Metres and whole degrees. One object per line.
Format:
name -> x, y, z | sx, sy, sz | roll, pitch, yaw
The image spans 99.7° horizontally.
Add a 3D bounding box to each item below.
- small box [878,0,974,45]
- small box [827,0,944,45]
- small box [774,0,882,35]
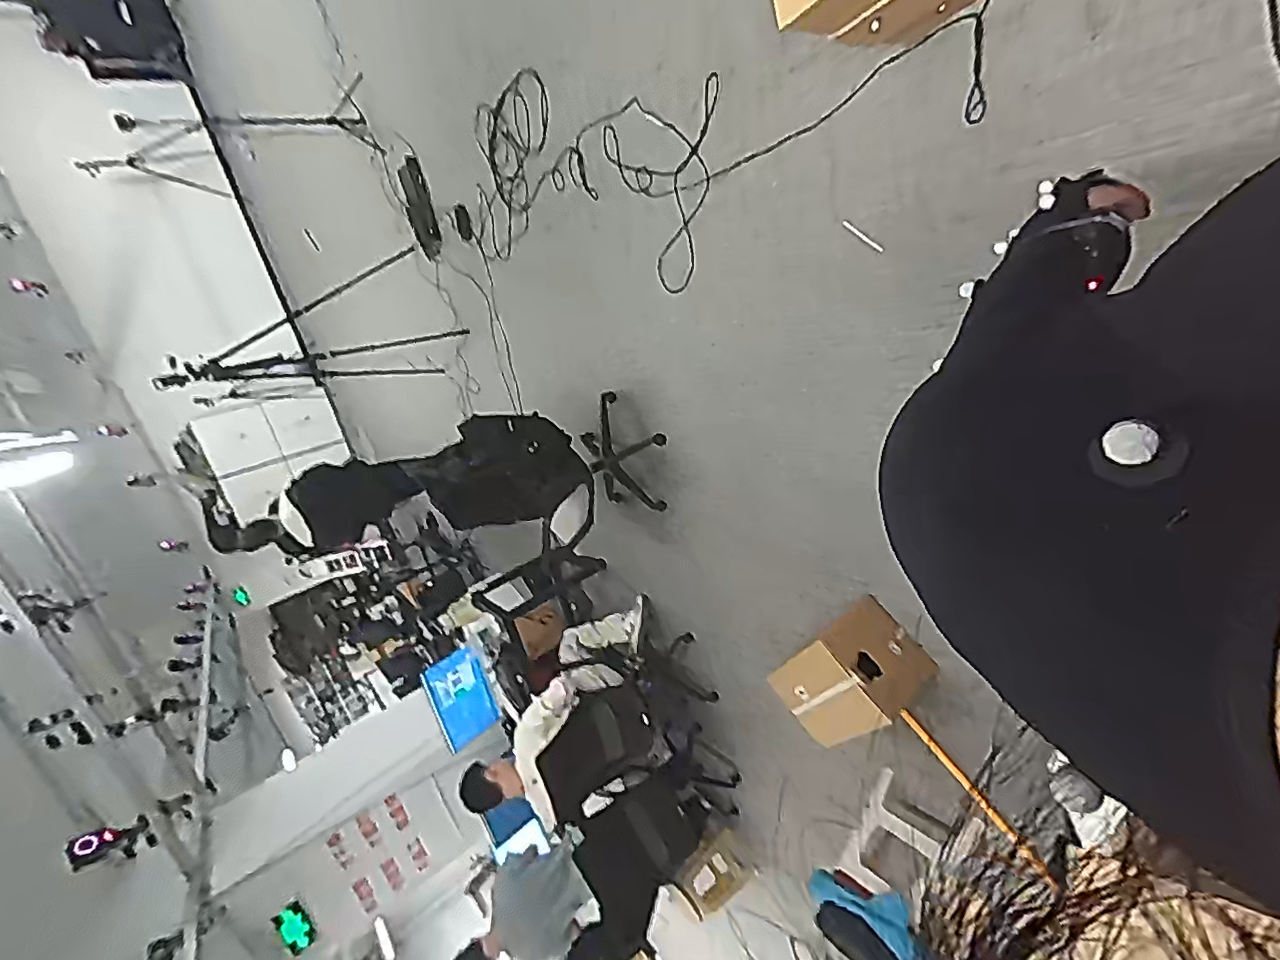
small box -> 0.577, -1.039, 1.108 | 0.179, 0.176, 0.168 | -2, 109, 55
small box -> 0.461, -0.962, 1.021 | 0.179, 0.176, 0.168 | 3, 114, 52
small box -> 0.340, -0.907, 0.927 | 0.179, 0.176, 0.168 | 1, 113, 53
